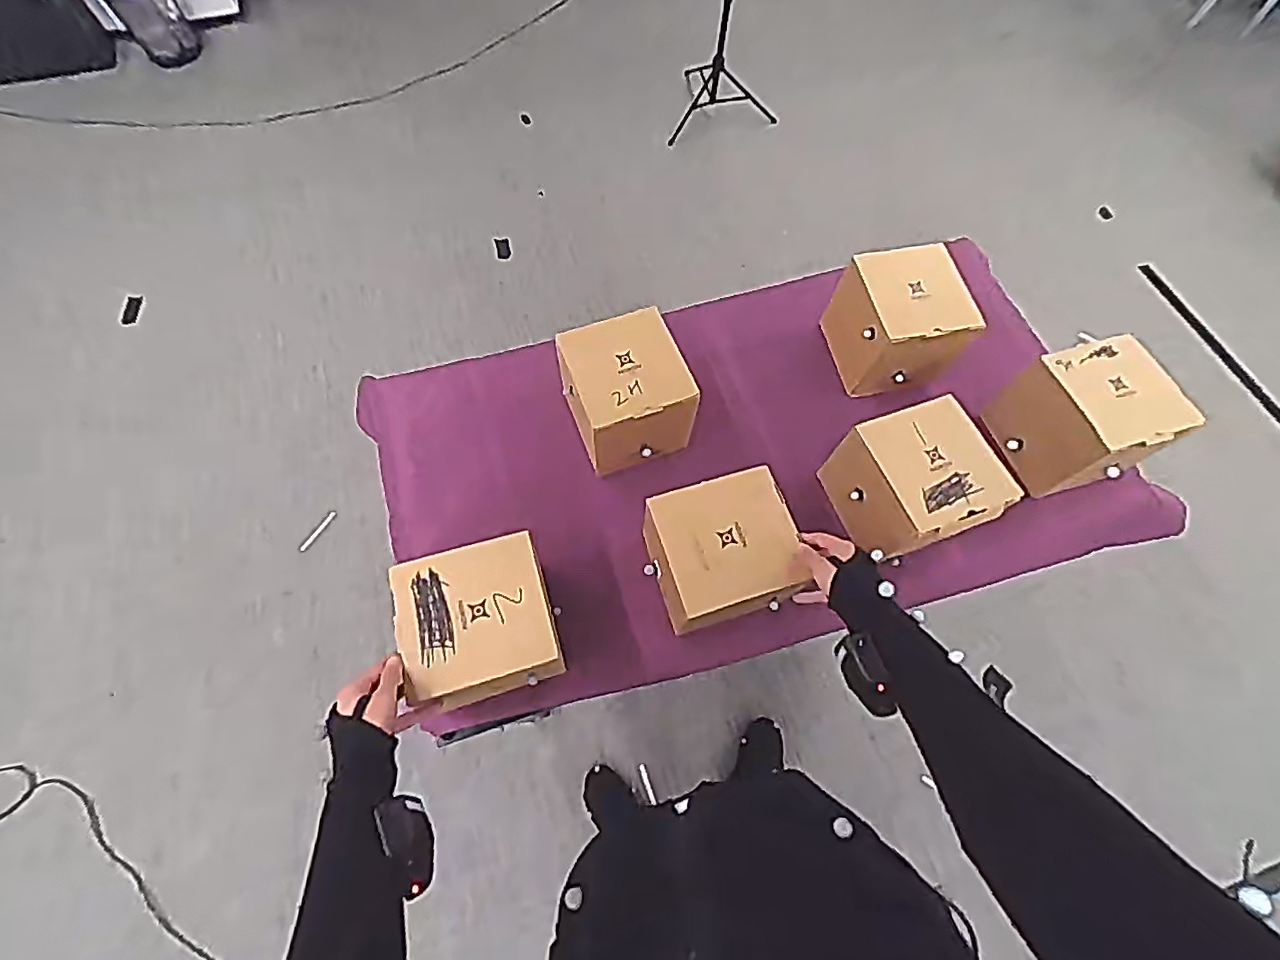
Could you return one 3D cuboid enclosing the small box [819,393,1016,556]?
[{"bbox_3d":[0.401,0.002,0.817,0.168,0.176,0.179,-18,67,-9],"label":"small box"}]

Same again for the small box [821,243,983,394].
[{"bbox_3d":[0.439,-0.276,0.942,0.168,0.176,0.179,-11,69,-6],"label":"small box"}]

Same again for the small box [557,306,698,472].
[{"bbox_3d":[-0.025,-0.140,0.868,0.168,0.176,0.179,-19,69,-10],"label":"small box"}]

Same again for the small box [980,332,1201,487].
[{"bbox_3d":[0.702,-0.102,0.869,0.168,0.176,0.179,-14,66,-7],"label":"small box"}]

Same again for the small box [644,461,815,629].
[{"bbox_3d":[0.112,0.098,0.766,0.179,0.176,0.168,-16,68,-9],"label":"small box"}]
